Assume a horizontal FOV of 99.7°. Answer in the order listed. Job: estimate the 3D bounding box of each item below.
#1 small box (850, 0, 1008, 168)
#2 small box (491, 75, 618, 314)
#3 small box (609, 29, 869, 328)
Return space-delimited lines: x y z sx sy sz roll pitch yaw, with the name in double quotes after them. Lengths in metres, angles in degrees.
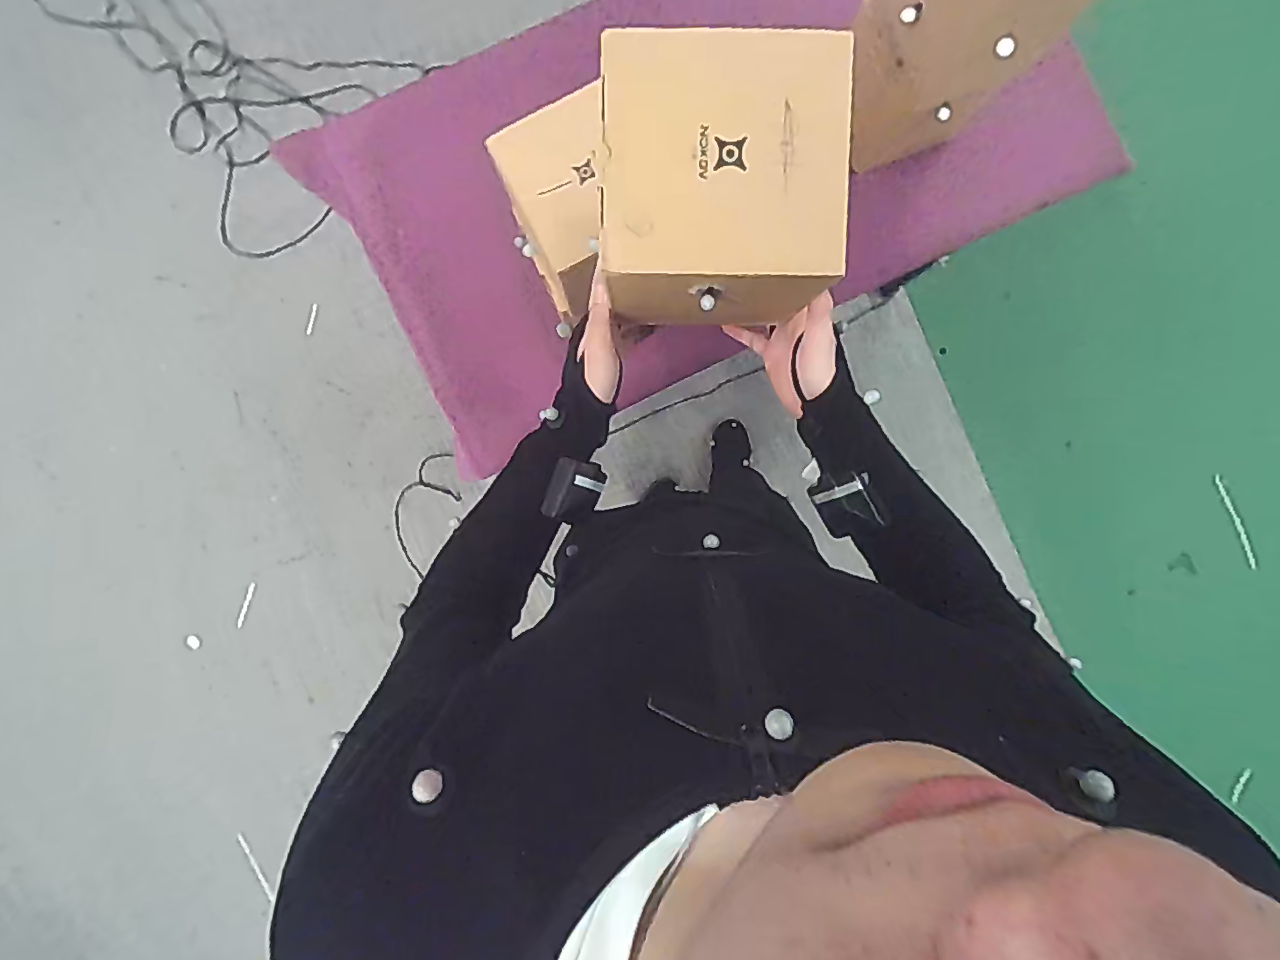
0.414 -0.623 0.831 0.179 0.176 0.168 -21 91 0 "small box"
-0.050 -0.330 0.655 0.179 0.176 0.168 -28 91 -1 "small box"
0.068 -0.229 0.456 0.179 0.176 0.168 2 94 -1 "small box"
